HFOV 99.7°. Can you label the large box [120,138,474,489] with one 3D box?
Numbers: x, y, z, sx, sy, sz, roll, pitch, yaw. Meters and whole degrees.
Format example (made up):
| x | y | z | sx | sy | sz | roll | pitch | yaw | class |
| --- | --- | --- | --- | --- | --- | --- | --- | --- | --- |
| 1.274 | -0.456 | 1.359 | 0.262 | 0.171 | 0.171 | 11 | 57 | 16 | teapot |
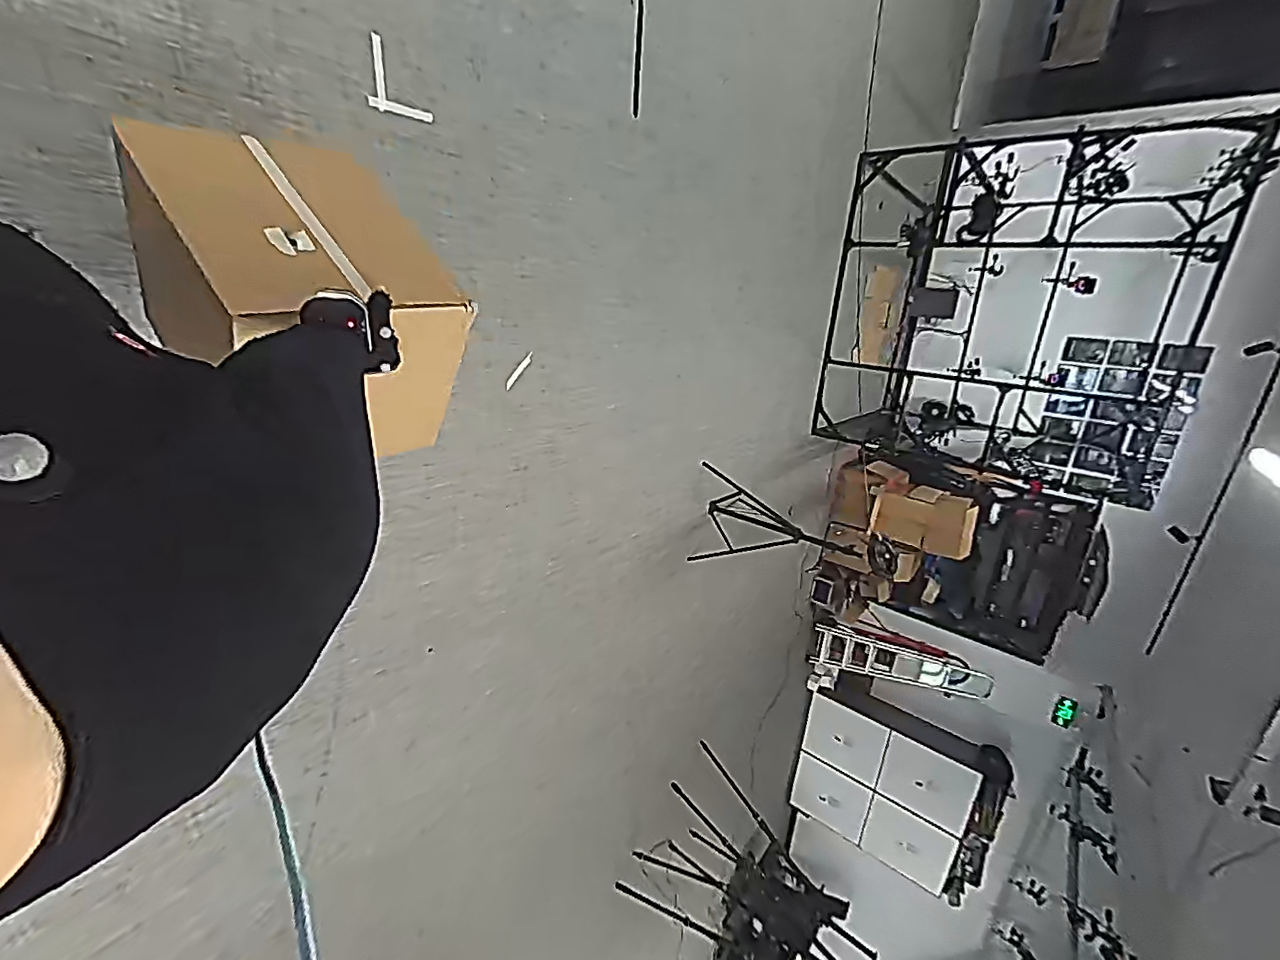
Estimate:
| x | y | z | sx | sy | sz | roll | pitch | yaw | class |
| --- | --- | --- | --- | --- | --- | --- | --- | --- | --- |
| -0.544 | -0.260 | 0.871 | 0.320 | 0.408 | 0.320 | -24 | 157 | -46 | large box |
